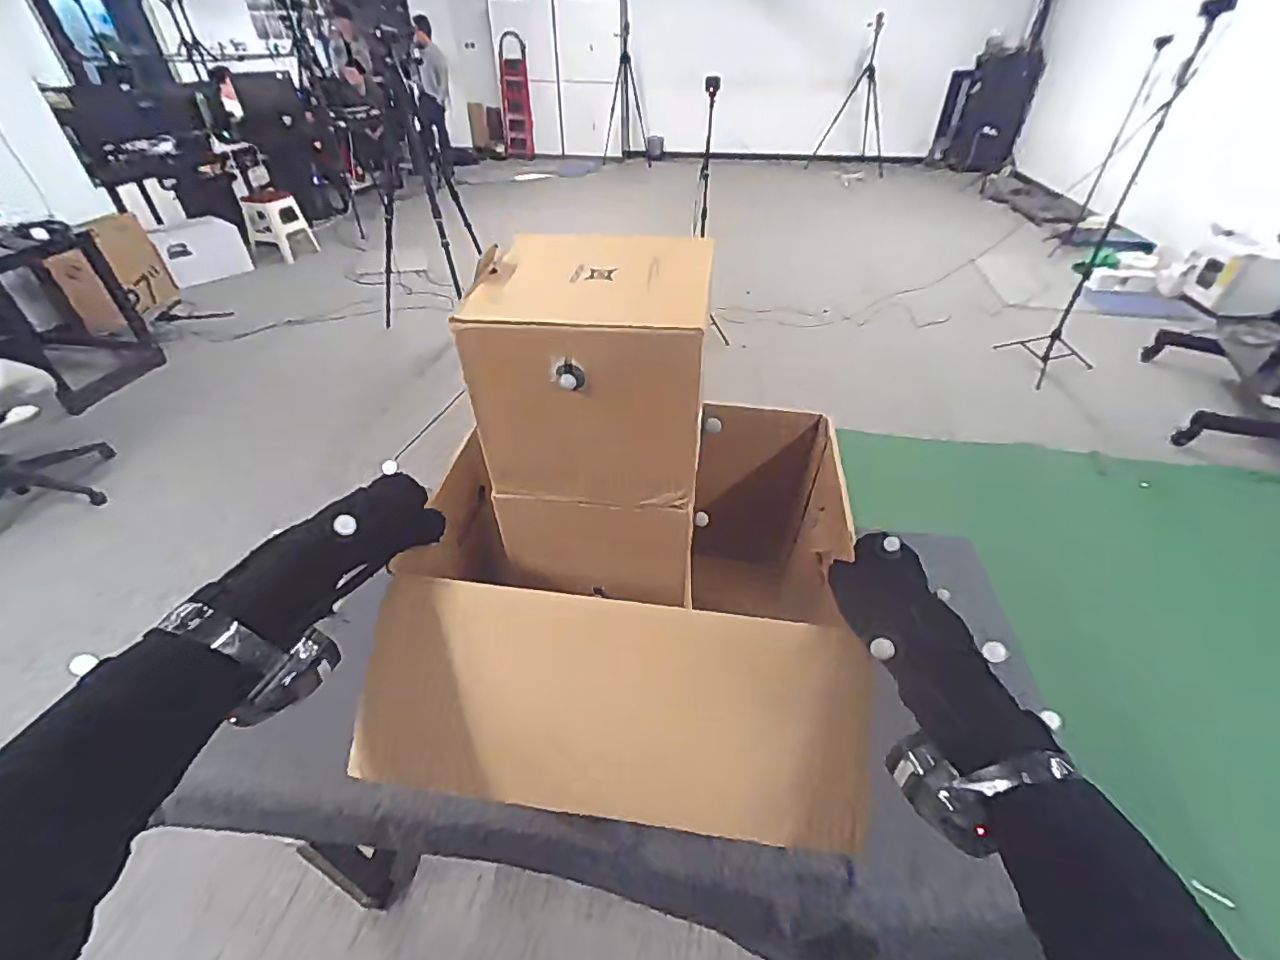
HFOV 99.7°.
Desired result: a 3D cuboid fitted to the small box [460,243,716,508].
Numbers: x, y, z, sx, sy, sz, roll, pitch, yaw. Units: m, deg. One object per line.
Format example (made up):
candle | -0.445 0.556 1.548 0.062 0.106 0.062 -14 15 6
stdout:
small box | -0.028 -0.092 0.474 0.179 0.176 0.168 4 44 5
